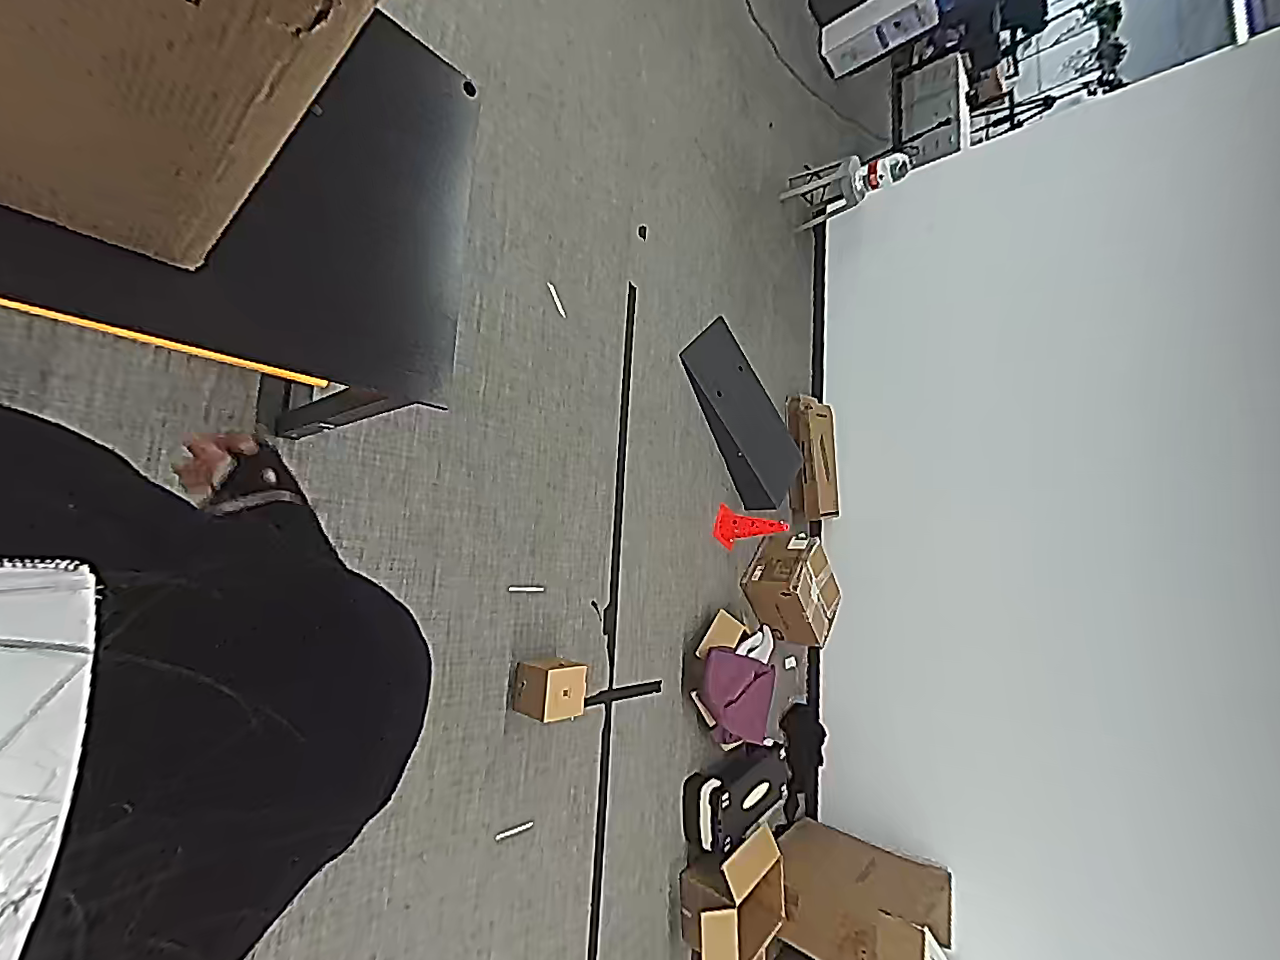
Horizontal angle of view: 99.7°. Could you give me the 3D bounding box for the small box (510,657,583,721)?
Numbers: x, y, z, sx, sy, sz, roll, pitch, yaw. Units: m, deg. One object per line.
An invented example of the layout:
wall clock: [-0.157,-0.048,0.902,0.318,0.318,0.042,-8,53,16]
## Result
small box: [-0.319,0.707,1.849,0.179,0.176,0.168,13,77,-47]
